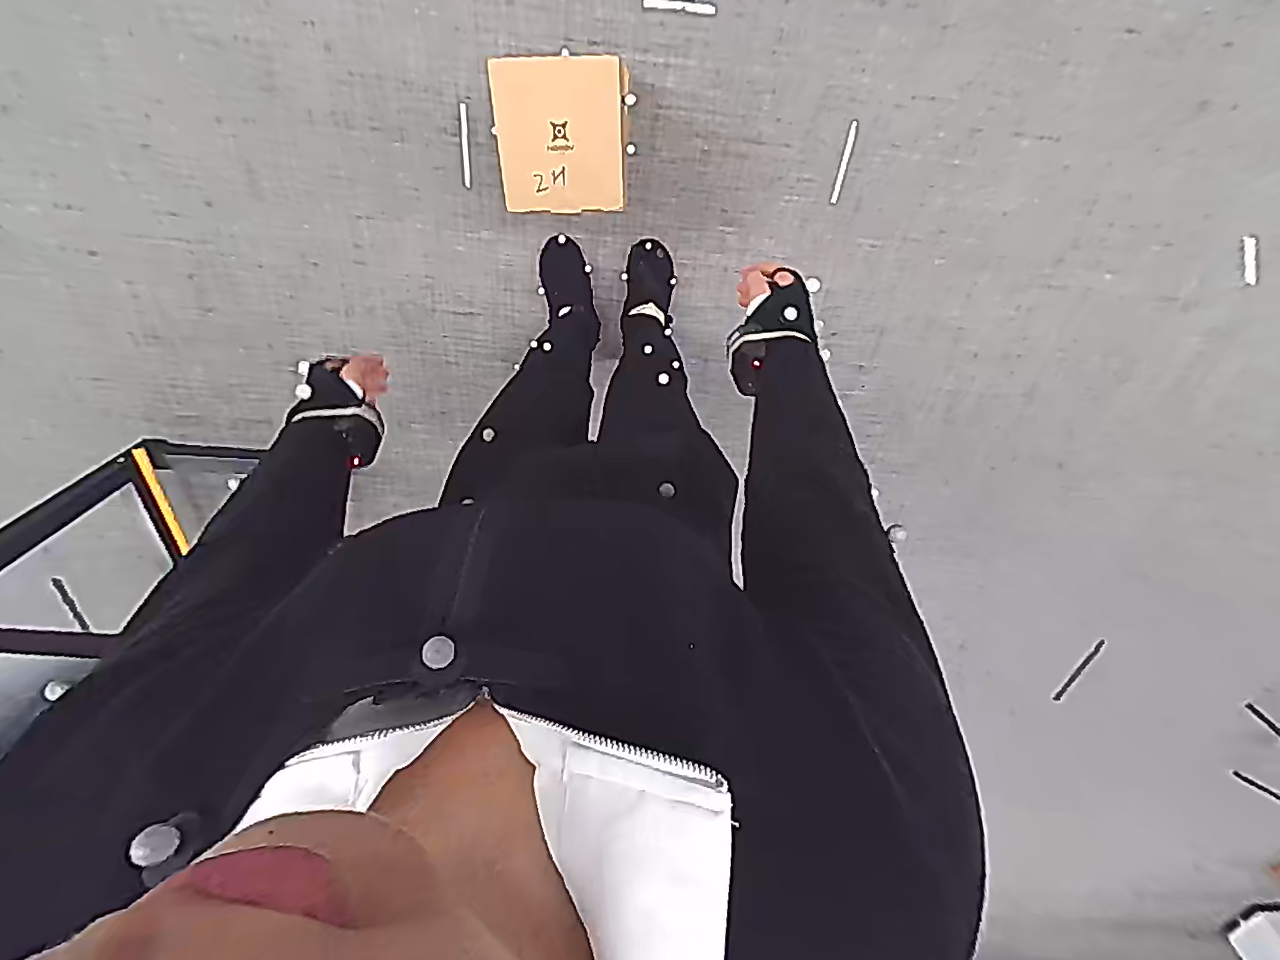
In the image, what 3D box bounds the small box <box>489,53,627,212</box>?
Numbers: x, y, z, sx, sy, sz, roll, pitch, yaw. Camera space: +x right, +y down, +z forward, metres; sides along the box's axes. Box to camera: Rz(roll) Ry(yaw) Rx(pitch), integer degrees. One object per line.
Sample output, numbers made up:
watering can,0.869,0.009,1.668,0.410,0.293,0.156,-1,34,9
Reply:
small box,-0.104,-0.490,0.773,0.168,0.176,0.179,0,124,1
